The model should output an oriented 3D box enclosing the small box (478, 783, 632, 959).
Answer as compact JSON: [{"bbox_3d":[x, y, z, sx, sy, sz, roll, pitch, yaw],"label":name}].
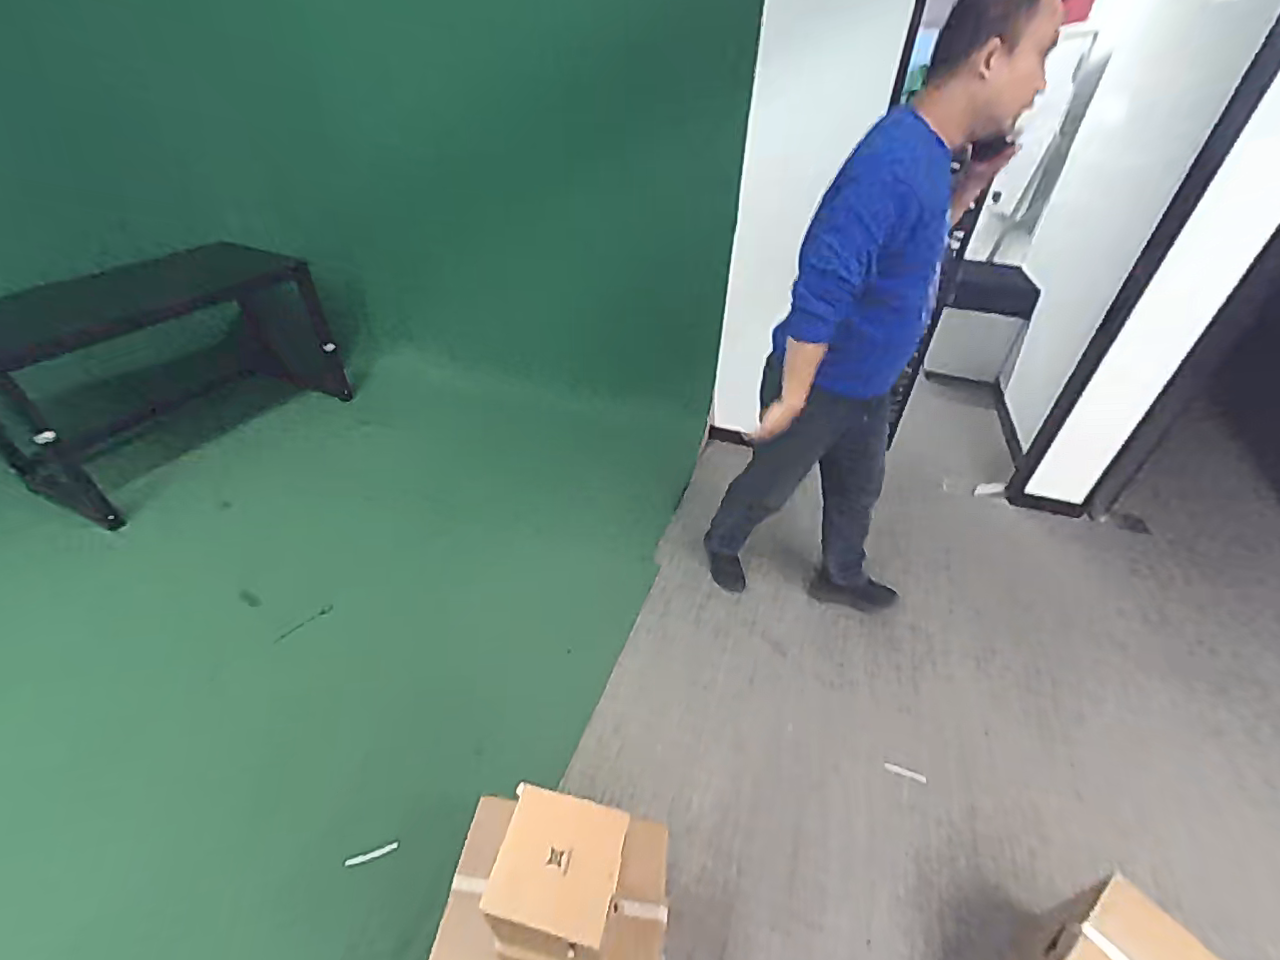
[{"bbox_3d":[-0.118,0.596,0.815,0.179,0.176,0.168,11,39,8],"label":"small box"}]

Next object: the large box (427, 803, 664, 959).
[{"bbox_3d":[-0.162,0.898,1.089,0.408,0.320,0.320,5,37,4],"label":"large box"}]
